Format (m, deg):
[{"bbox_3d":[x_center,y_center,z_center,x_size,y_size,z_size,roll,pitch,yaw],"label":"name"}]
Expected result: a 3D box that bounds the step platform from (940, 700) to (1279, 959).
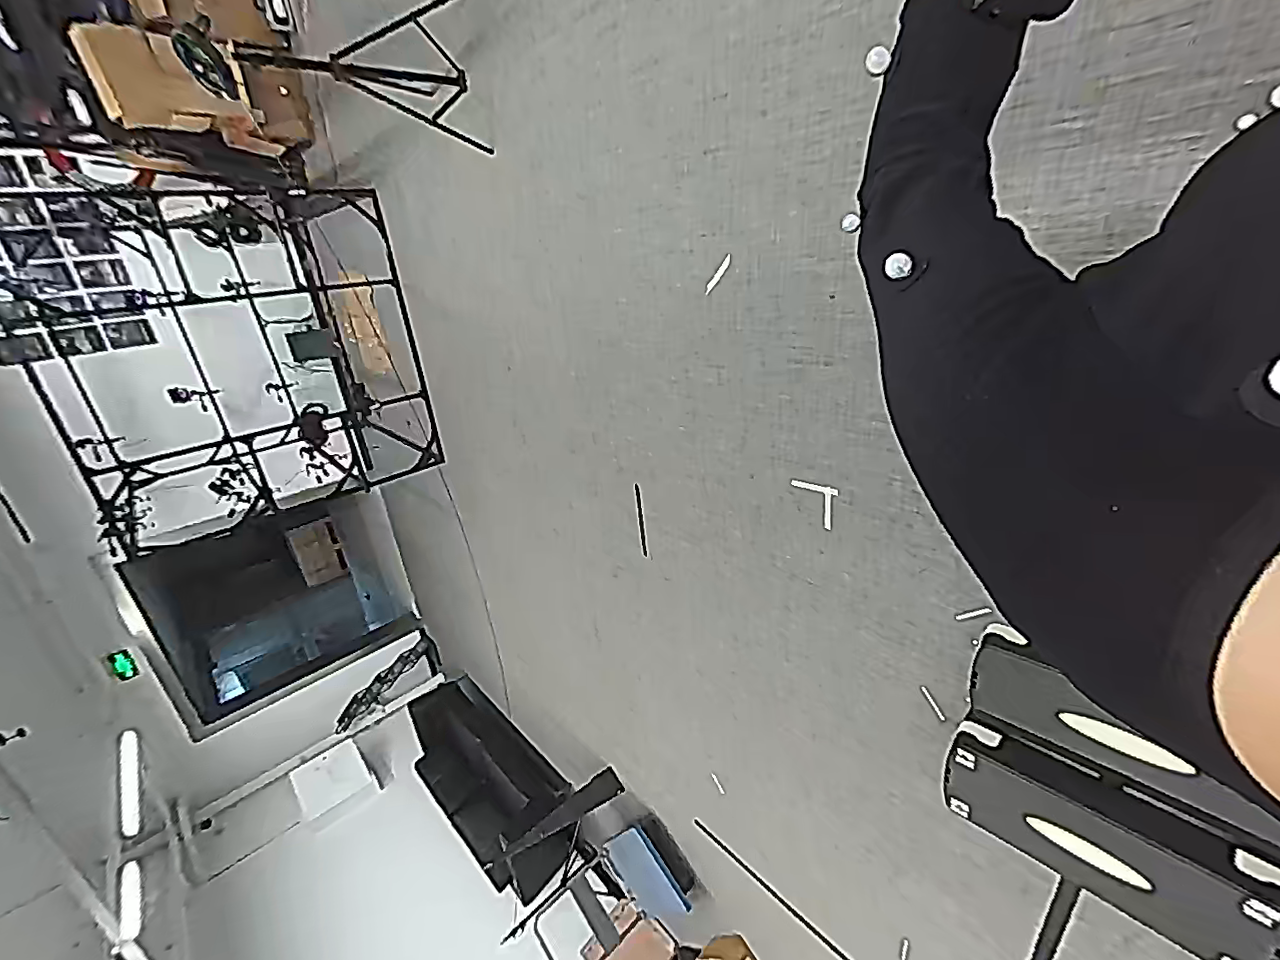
[{"bbox_3d":[1.176,0.887,1.422,0.684,0.204,0.286,17,122,47],"label":"step platform"}]
